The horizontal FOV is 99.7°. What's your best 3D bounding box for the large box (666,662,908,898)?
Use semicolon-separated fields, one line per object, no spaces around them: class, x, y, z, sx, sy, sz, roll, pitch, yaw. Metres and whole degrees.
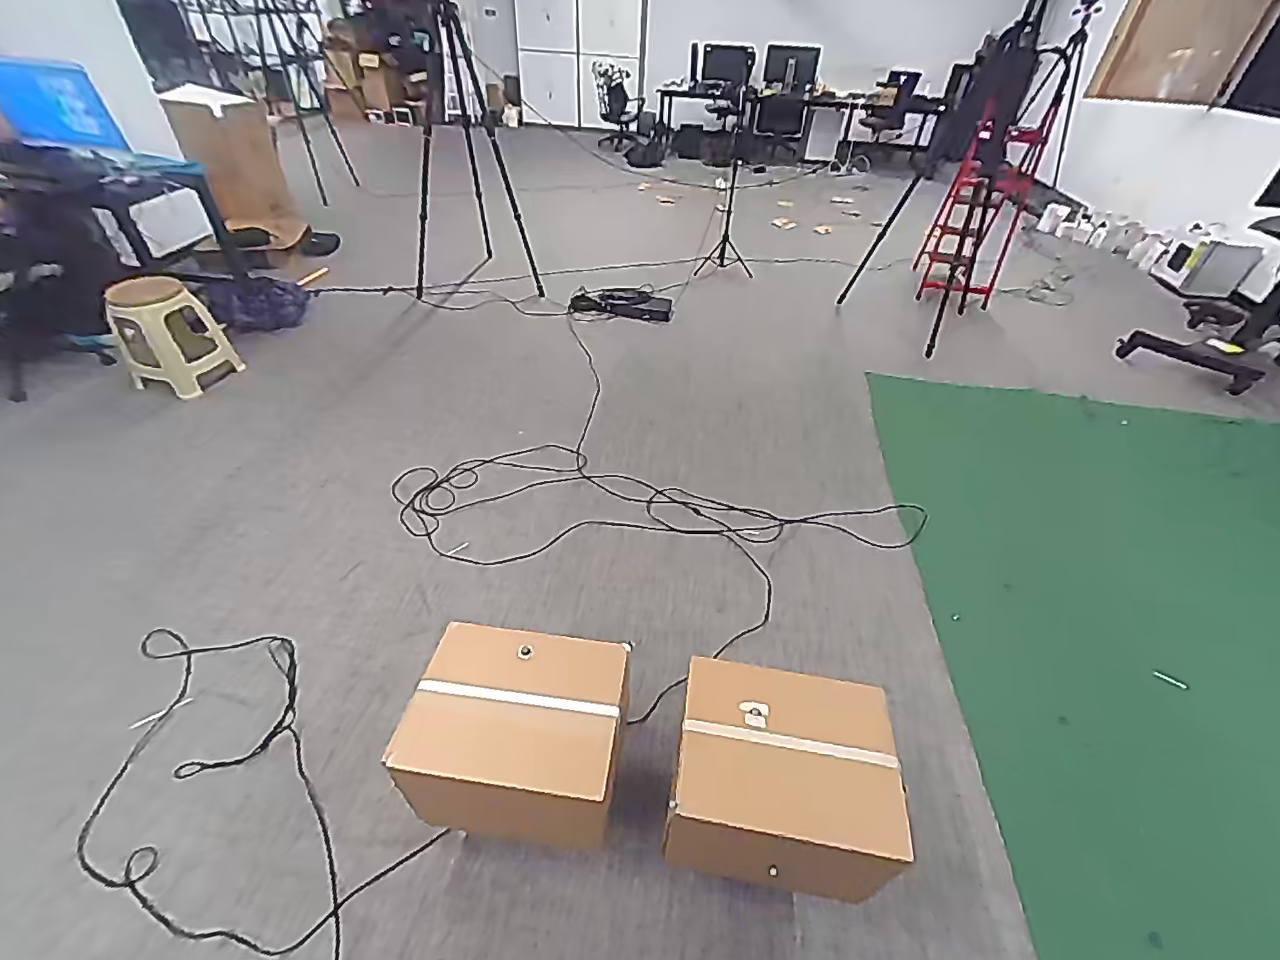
large box;0.280;0.626;1.136;0.408;0.320;0.320;8;41;6
